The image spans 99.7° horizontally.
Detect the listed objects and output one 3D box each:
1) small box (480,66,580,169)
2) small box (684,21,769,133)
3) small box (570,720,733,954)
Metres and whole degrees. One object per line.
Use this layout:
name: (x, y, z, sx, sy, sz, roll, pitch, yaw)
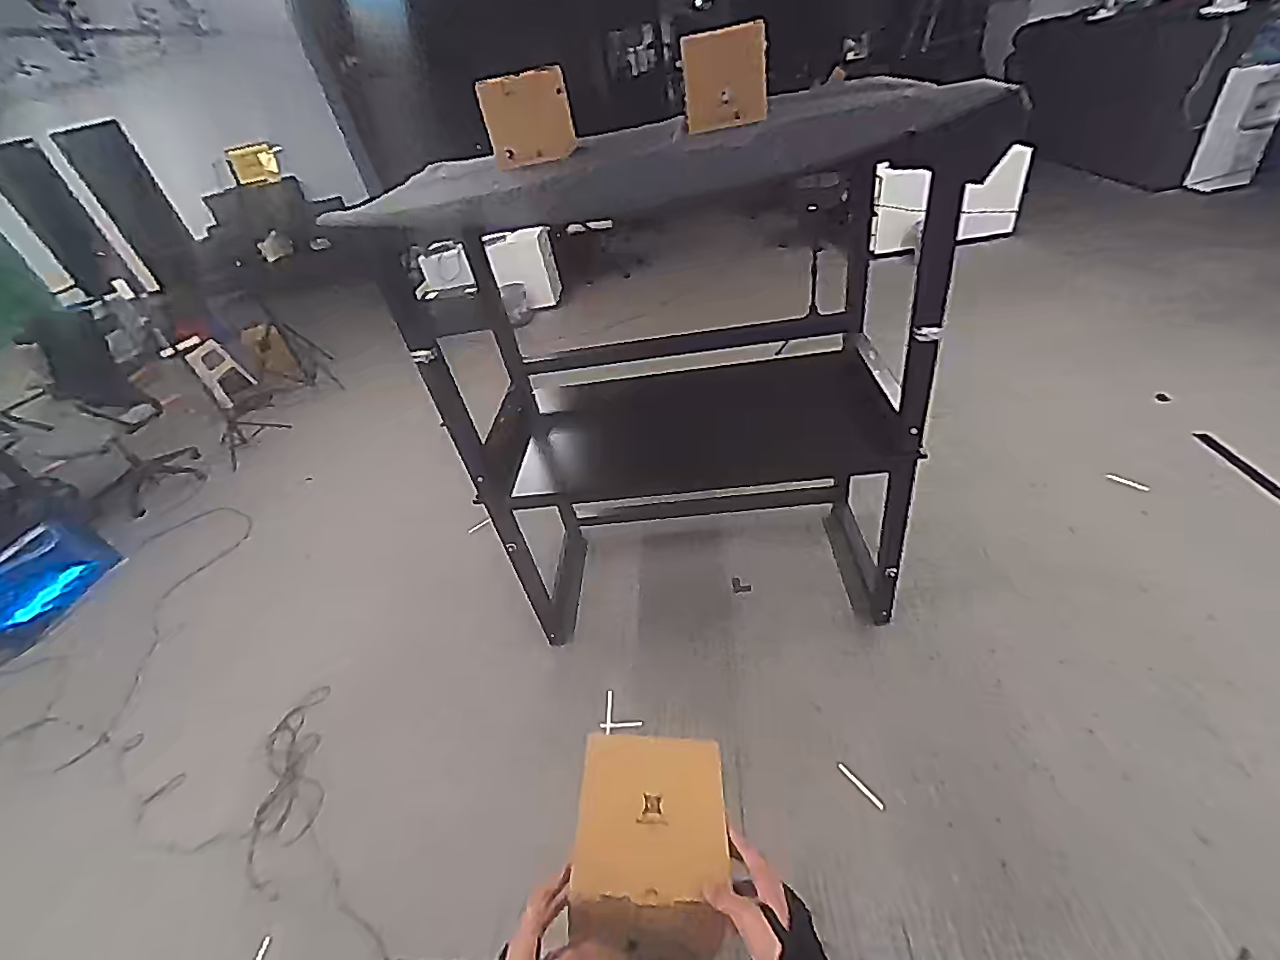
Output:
small box: (-0.246, -0.839, 1.259, 0.168, 0.176, 0.179, -6, 38, 8)
small box: (0.190, -0.874, 1.180, 0.168, 0.176, 0.179, -5, 39, 11)
small box: (0.008, 0.418, 0.644, 0.168, 0.176, 0.179, 4, 32, -1)
